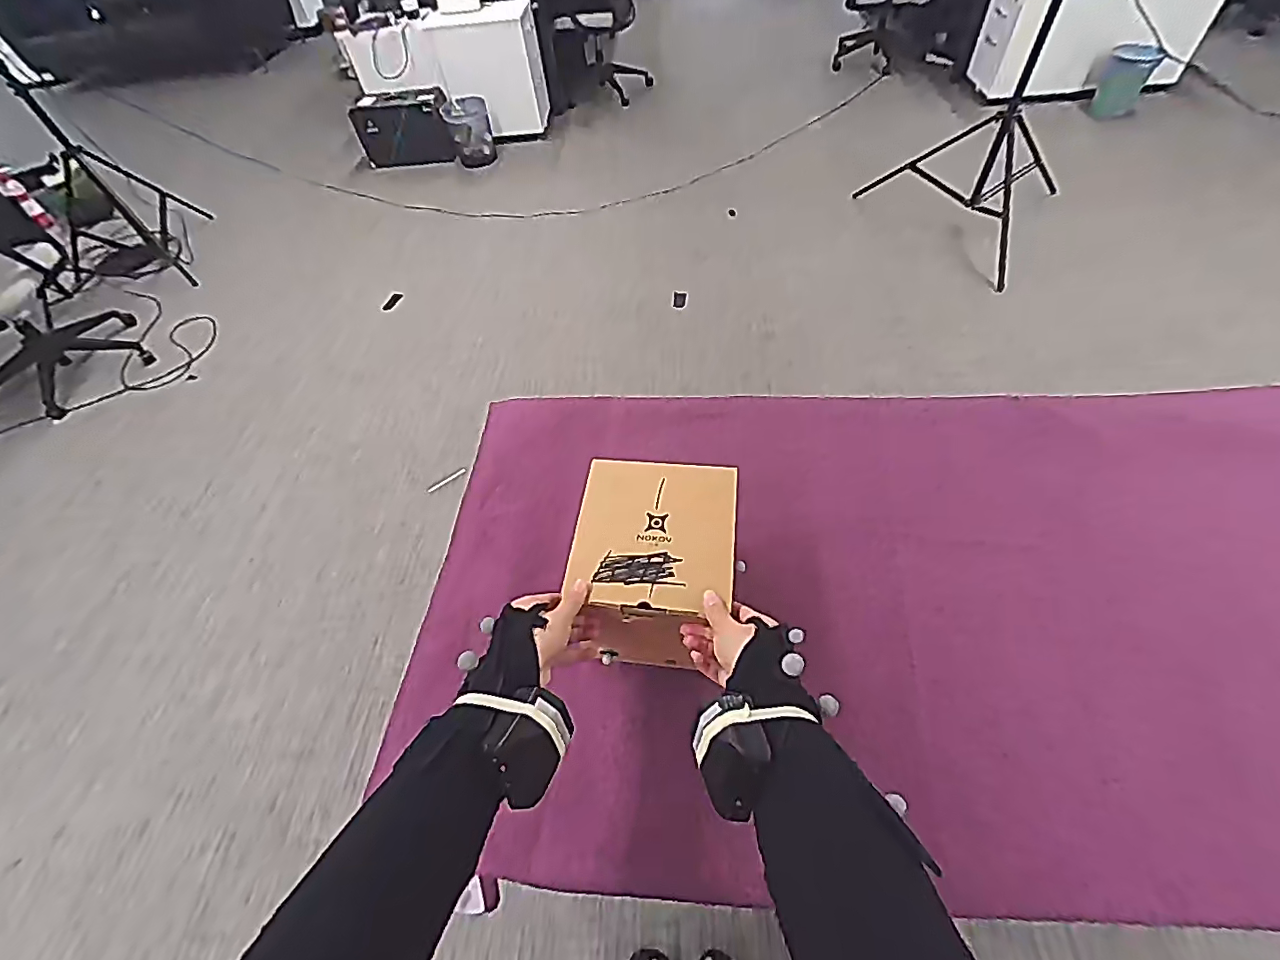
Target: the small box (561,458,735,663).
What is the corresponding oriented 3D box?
[{"bbox_3d":[0.020,0.097,0.624,0.168,0.176,0.179,4,53,8],"label":"small box"}]
